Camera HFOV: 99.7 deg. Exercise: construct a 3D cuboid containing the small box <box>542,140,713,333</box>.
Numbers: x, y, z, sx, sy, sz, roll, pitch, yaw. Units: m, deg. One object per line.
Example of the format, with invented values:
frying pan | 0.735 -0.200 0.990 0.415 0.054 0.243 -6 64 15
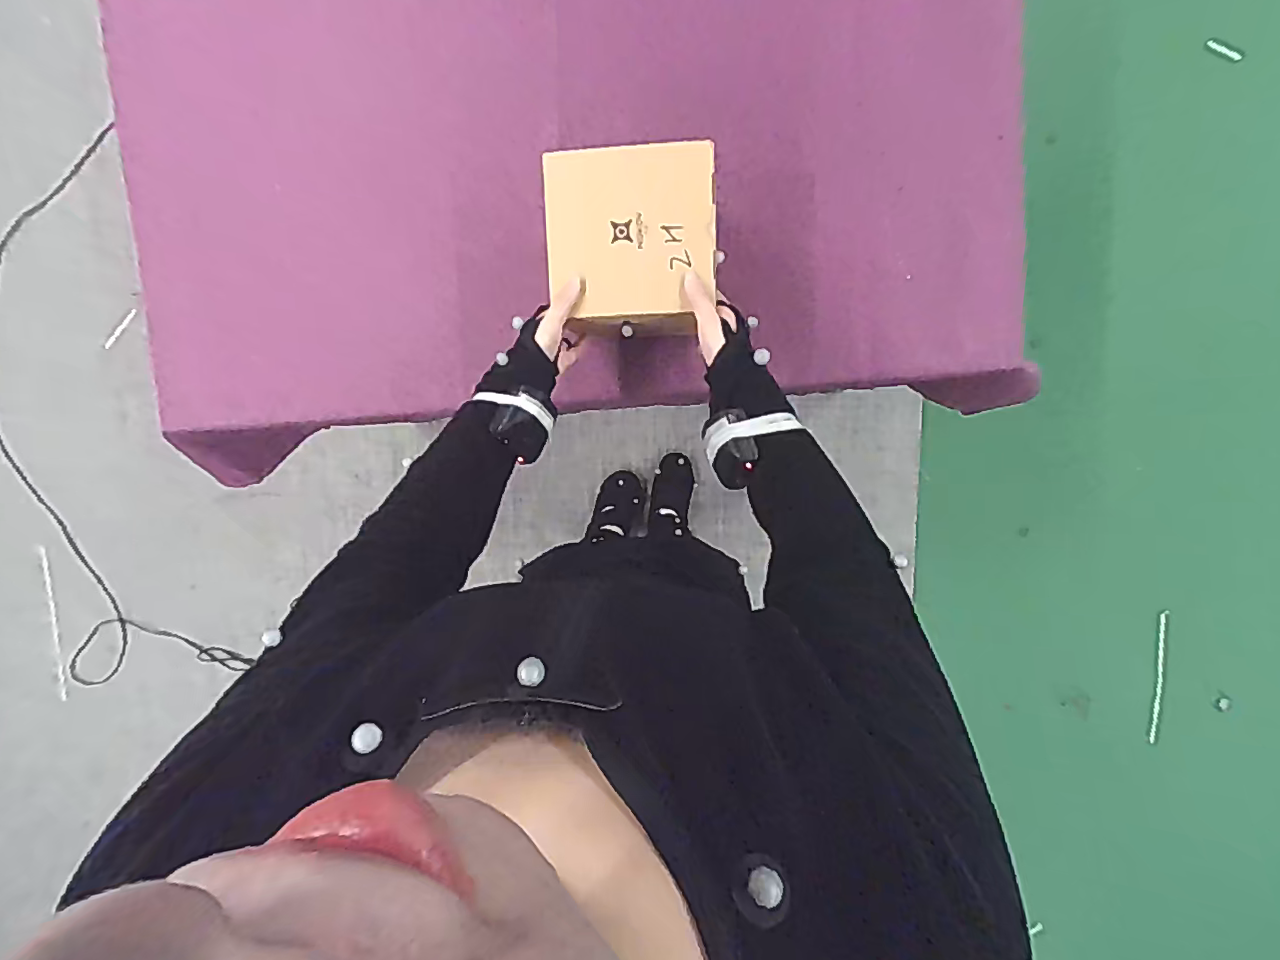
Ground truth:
small box | -0.005 -0.267 0.634 0.179 0.176 0.168 -1 98 6
